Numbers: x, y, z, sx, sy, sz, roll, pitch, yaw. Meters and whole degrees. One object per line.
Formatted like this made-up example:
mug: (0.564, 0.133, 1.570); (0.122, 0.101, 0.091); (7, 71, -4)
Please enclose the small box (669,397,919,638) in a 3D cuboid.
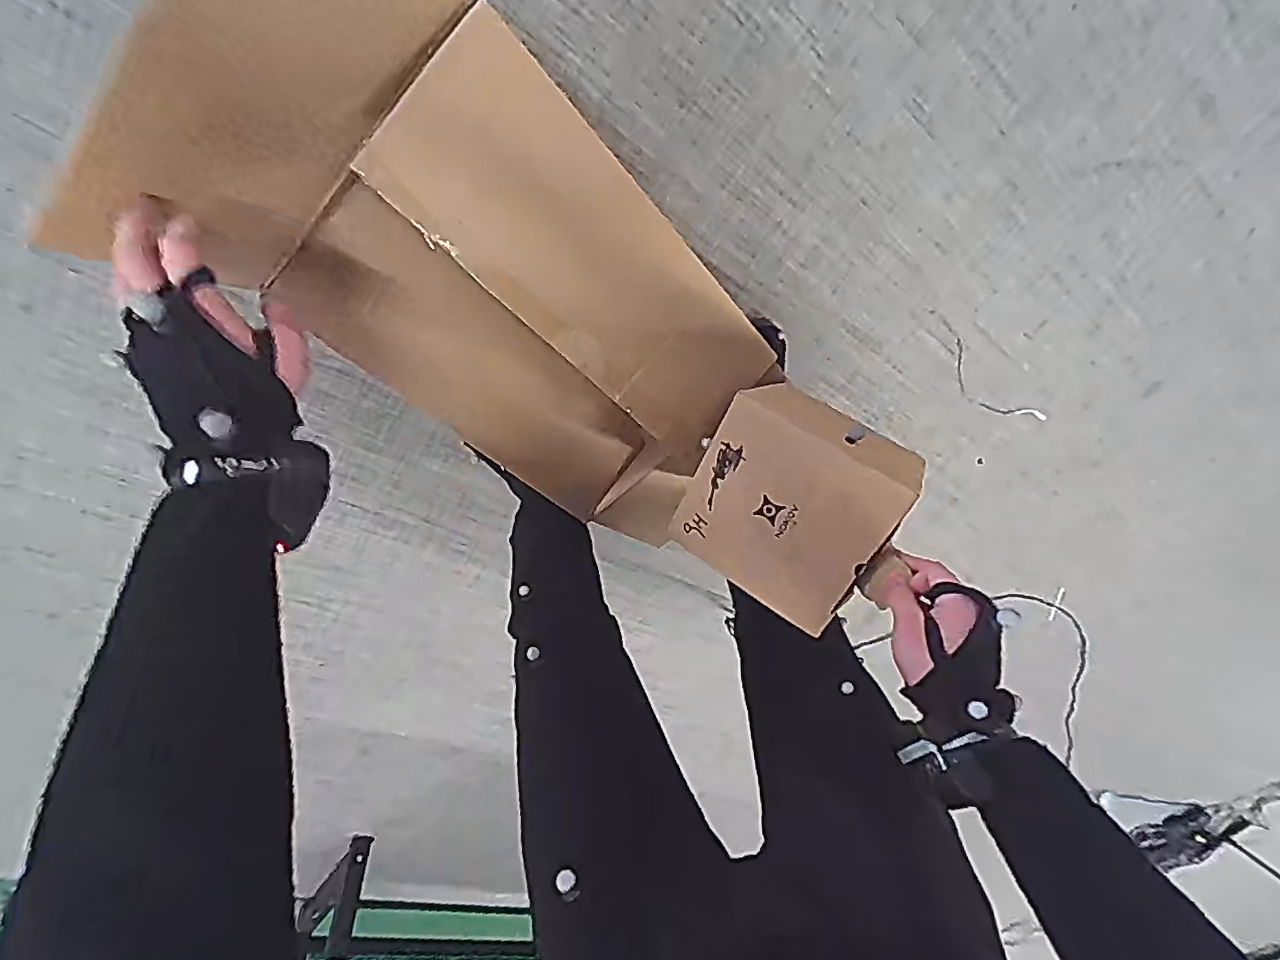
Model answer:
small box: (0.166, 0.022, 0.565); (0.179, 0.176, 0.168); (32, 116, 21)
